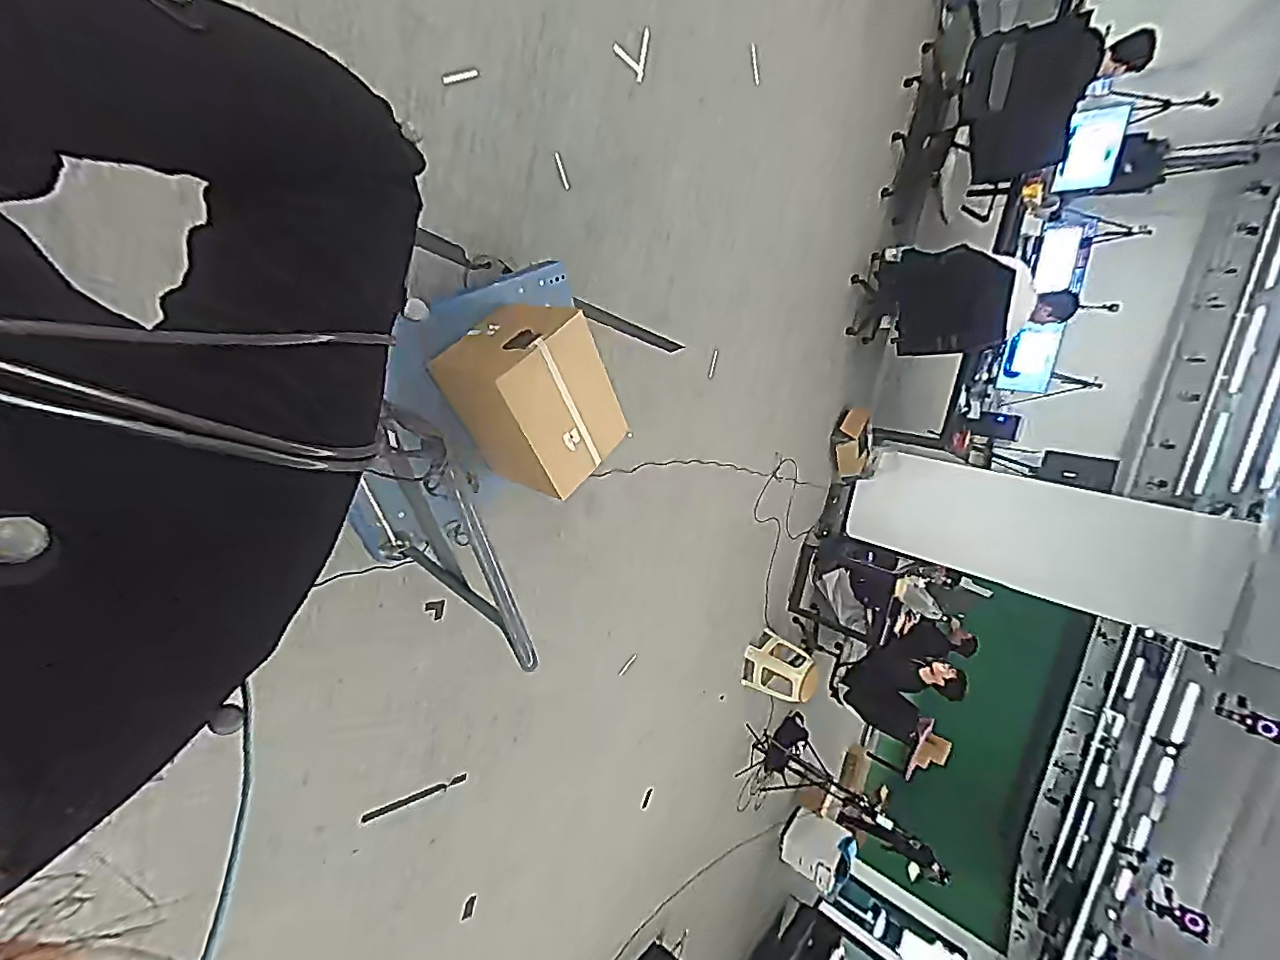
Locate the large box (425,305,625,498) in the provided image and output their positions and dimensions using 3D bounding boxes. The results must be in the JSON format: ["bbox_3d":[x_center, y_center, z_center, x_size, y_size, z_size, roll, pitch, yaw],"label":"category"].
[{"bbox_3d":[-0.302,-0.223,1.493,0.320,0.320,0.408,-49,137,-27],"label":"large box"}]
